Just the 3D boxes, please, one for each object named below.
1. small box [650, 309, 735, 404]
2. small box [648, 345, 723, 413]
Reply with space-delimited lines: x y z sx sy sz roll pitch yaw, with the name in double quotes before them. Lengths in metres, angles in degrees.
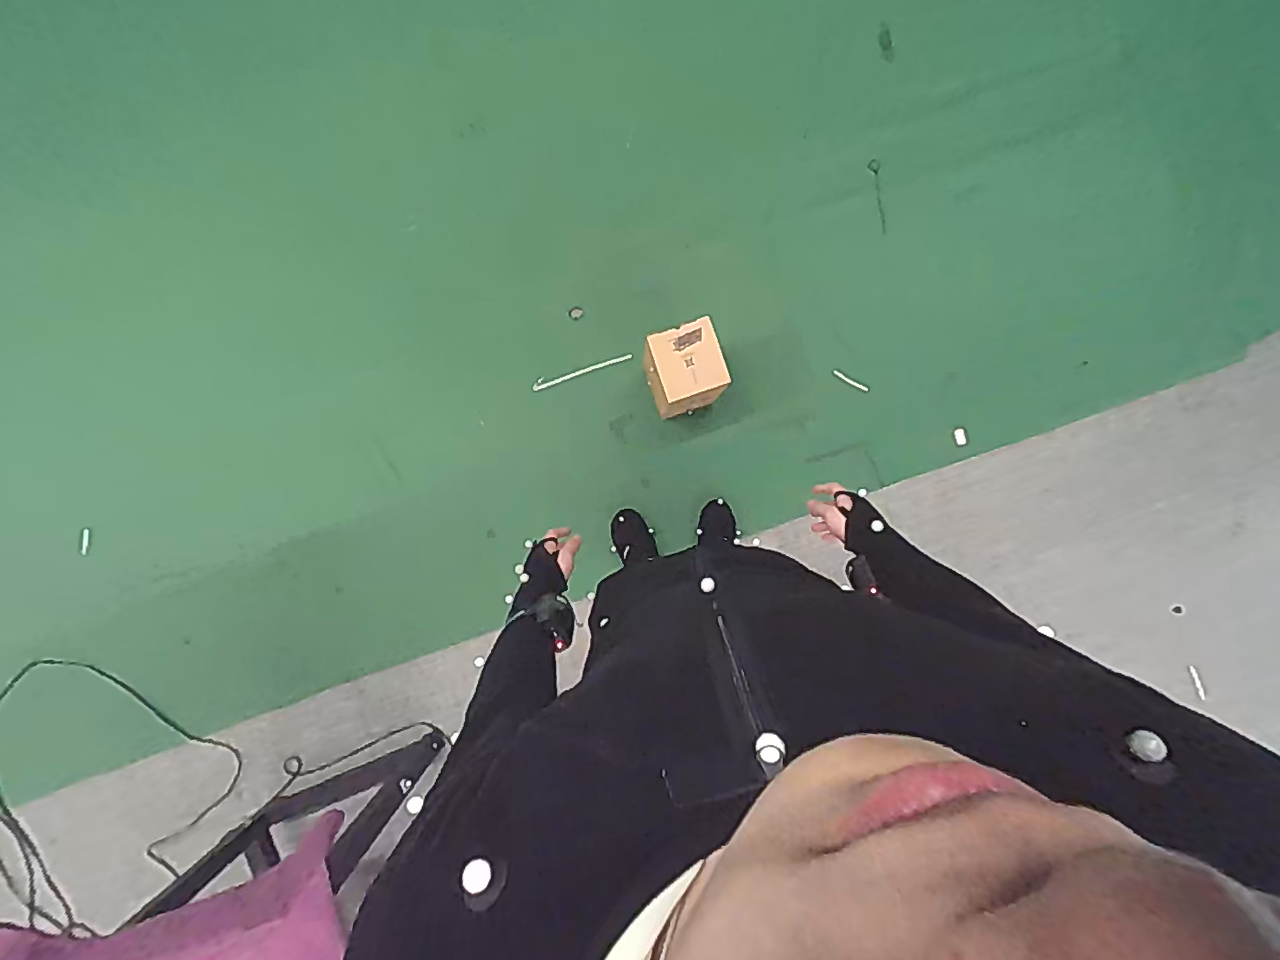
"small box" 0.126 -0.309 1.391 0.168 0.176 0.179 -19 90 0
"small box" 0.124 -0.308 1.555 0.168 0.176 0.179 -19 90 0
